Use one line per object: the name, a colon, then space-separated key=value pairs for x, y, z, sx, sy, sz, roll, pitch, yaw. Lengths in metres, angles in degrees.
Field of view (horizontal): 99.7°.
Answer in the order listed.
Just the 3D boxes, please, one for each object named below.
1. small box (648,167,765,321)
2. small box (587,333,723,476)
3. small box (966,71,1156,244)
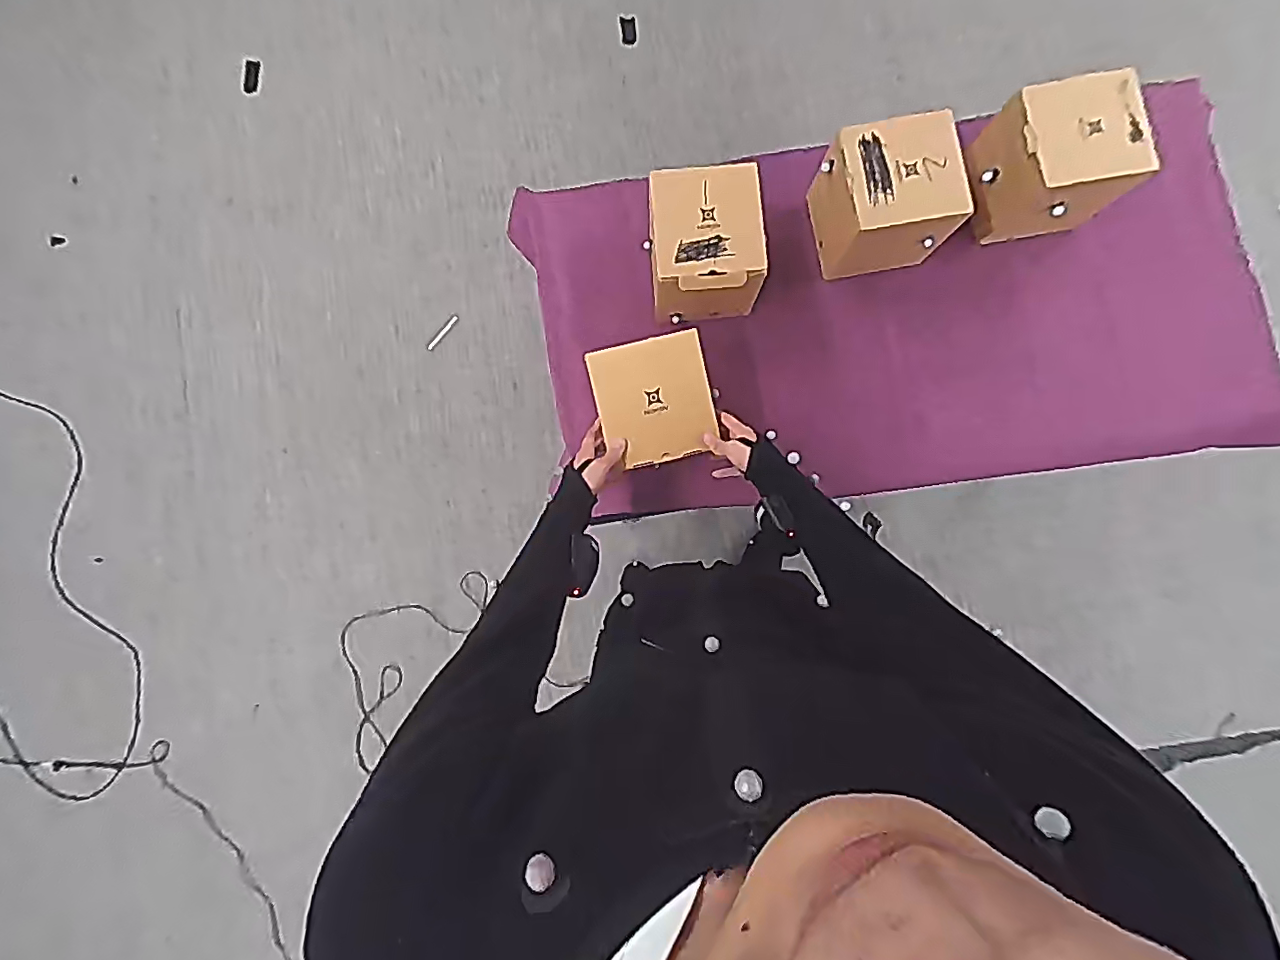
small box: x=0.101 y=-0.371 z=0.882 sx=0.168 sy=0.176 sz=0.179 roll=-4 pitch=84 yaw=1
small box: x=0.018 y=-0.111 z=0.846 sx=0.168 sy=0.176 sz=0.179 roll=-14 pitch=94 yaw=0
small box: x=0.664 y=-0.510 z=0.881 sx=0.179 sy=0.176 sz=0.168 roll=-10 pitch=86 yaw=1
